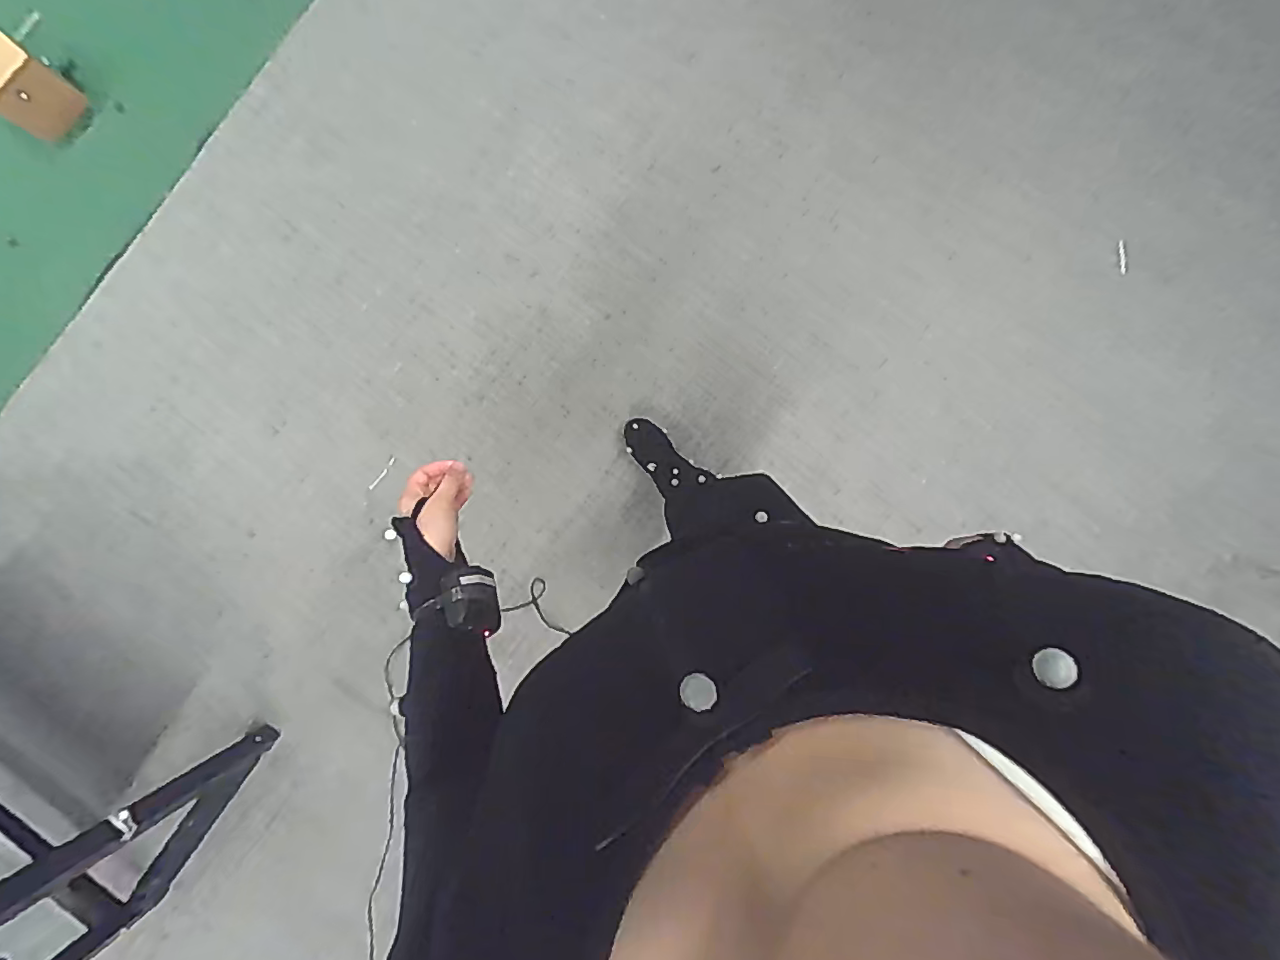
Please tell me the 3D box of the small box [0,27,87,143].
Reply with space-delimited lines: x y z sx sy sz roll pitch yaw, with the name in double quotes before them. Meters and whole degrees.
"small box" -1.701 -1.088 1.488 0.168 0.176 0.179 41 89 2
